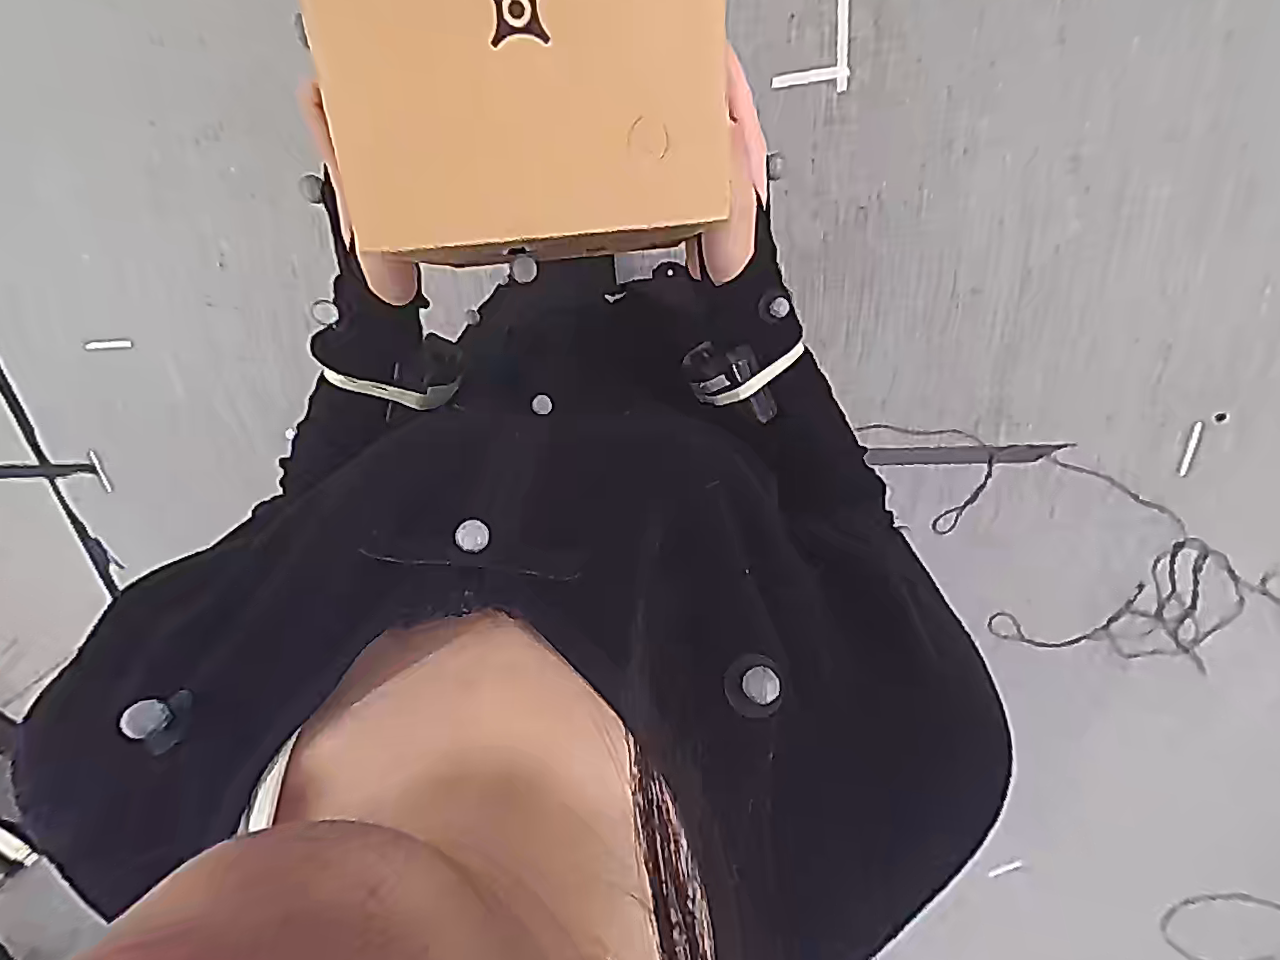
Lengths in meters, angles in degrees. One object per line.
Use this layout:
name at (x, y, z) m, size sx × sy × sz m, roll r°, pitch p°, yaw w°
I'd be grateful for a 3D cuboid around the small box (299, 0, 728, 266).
small box at (-0.051, -0.211, 0.284) m, size 0.168 × 0.176 × 0.179 m, roll -6°, pitch 109°, yaw -2°

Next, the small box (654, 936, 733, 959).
small box at (0.106, 1.073, 1.088) m, size 0.168 × 0.176 × 0.179 m, roll 0°, pitch 112°, yaw 7°
